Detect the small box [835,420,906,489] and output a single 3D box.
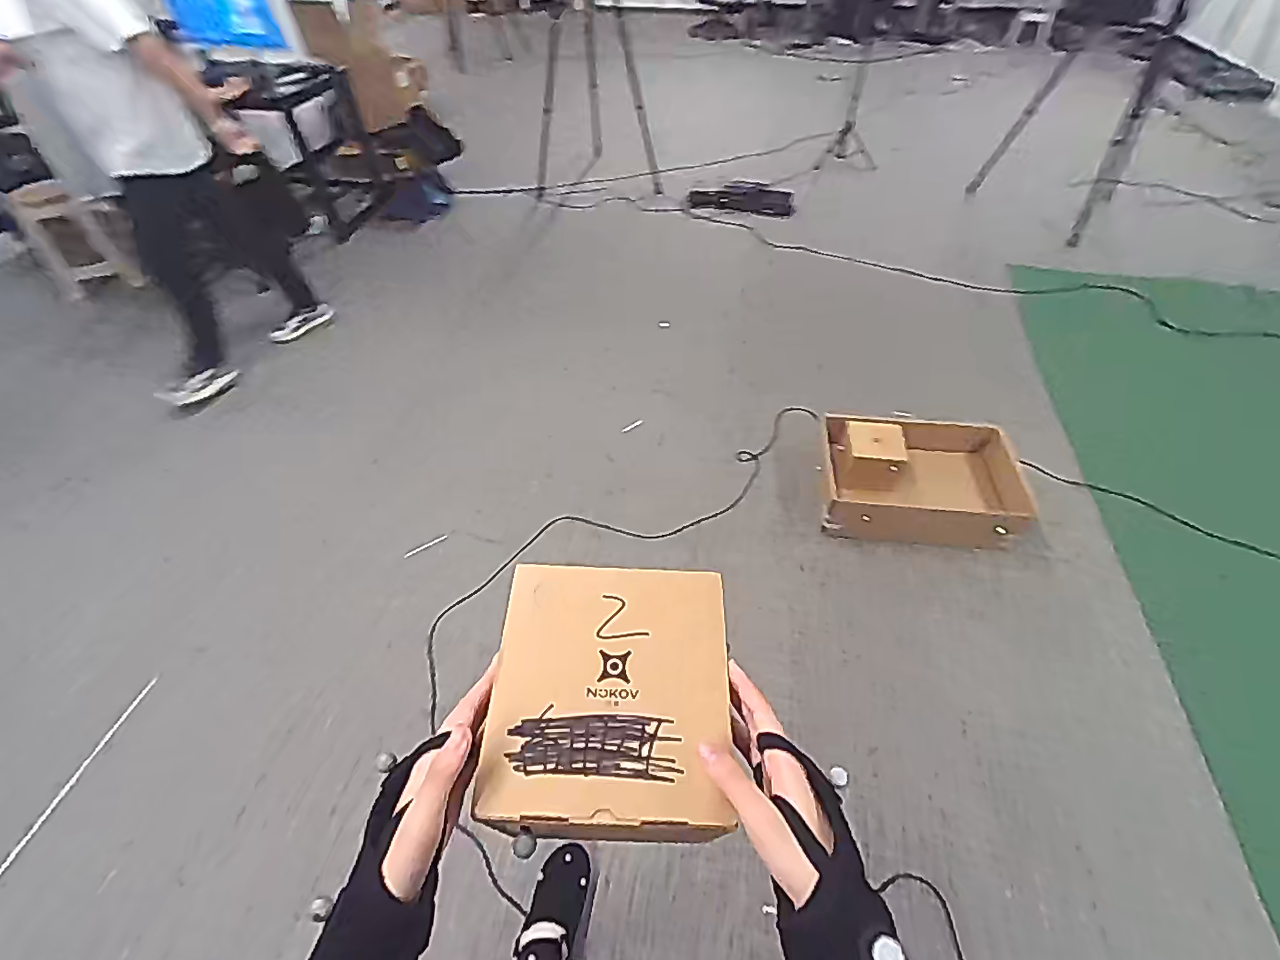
[{"bbox_3d":[0.778,-0.084,1.850,0.179,0.176,0.168,5,52,4],"label":"small box"}]
